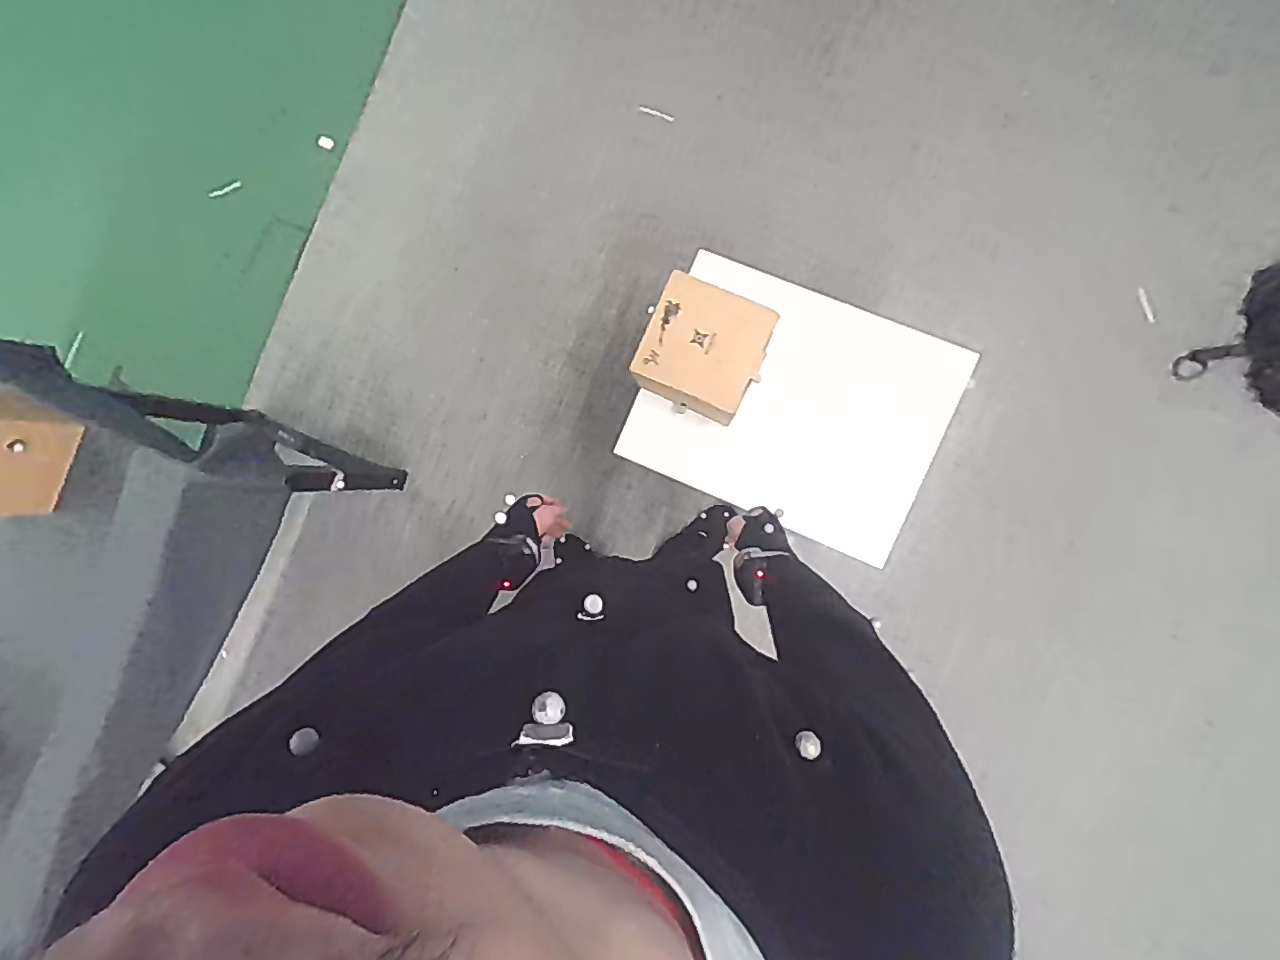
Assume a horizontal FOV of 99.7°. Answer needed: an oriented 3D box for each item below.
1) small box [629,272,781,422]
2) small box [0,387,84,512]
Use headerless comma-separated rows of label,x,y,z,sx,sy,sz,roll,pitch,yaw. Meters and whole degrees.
small box,0.103,-0.202,0.874,0.179,0.176,0.168,25,93,5
small box,-1.095,-0.056,0.896,0.168,0.176,0.179,25,94,8
